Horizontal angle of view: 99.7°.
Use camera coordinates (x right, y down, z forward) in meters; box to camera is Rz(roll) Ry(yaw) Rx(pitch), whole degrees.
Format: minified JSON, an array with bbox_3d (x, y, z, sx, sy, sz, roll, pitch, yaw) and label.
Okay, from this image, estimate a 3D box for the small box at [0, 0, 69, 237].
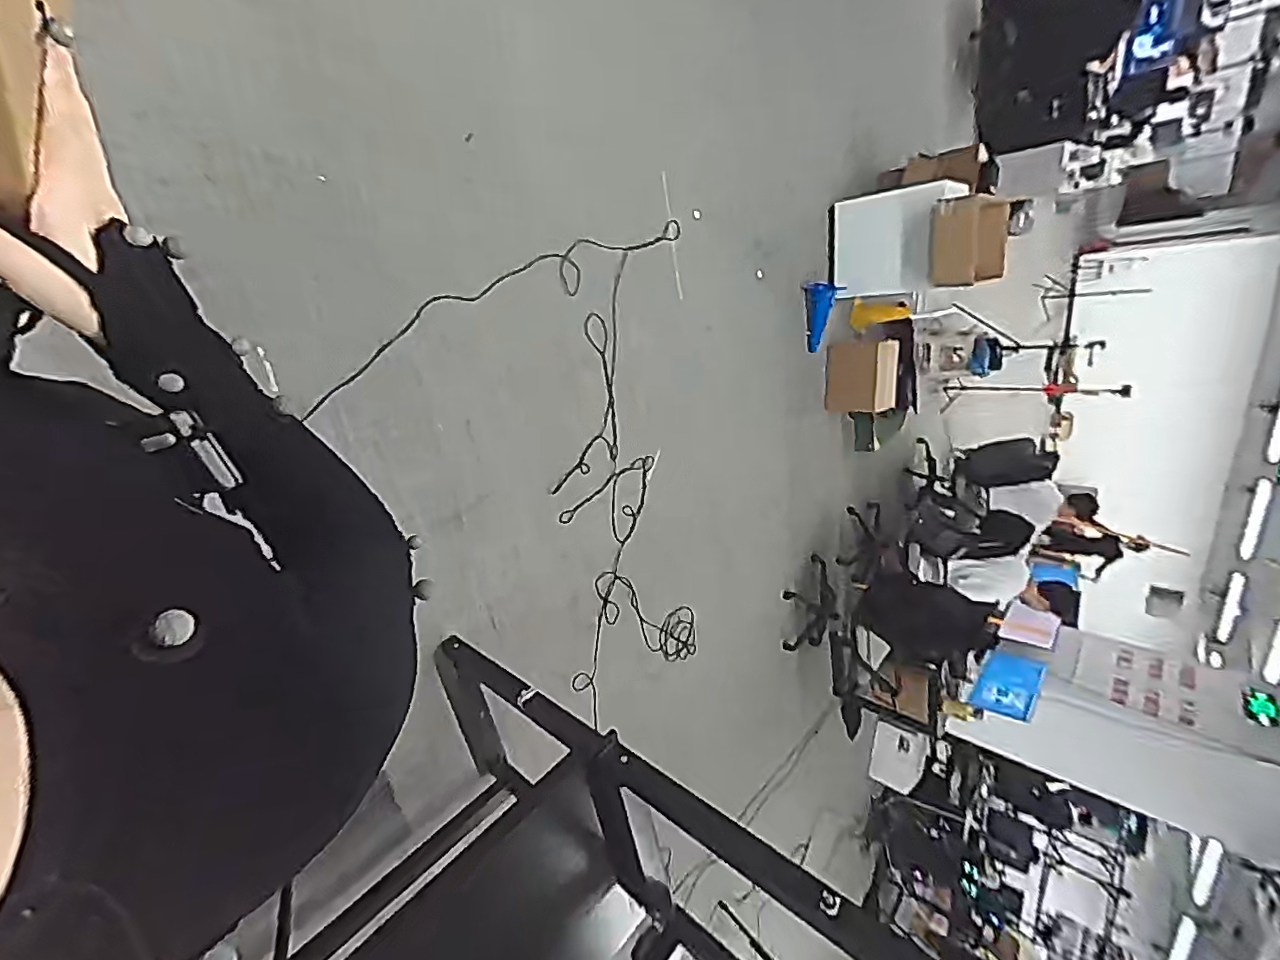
[{"bbox_3d":[-0.378,-0.249,0.232,0.168,0.176,0.179,4,73,-41],"label":"small box"}]
